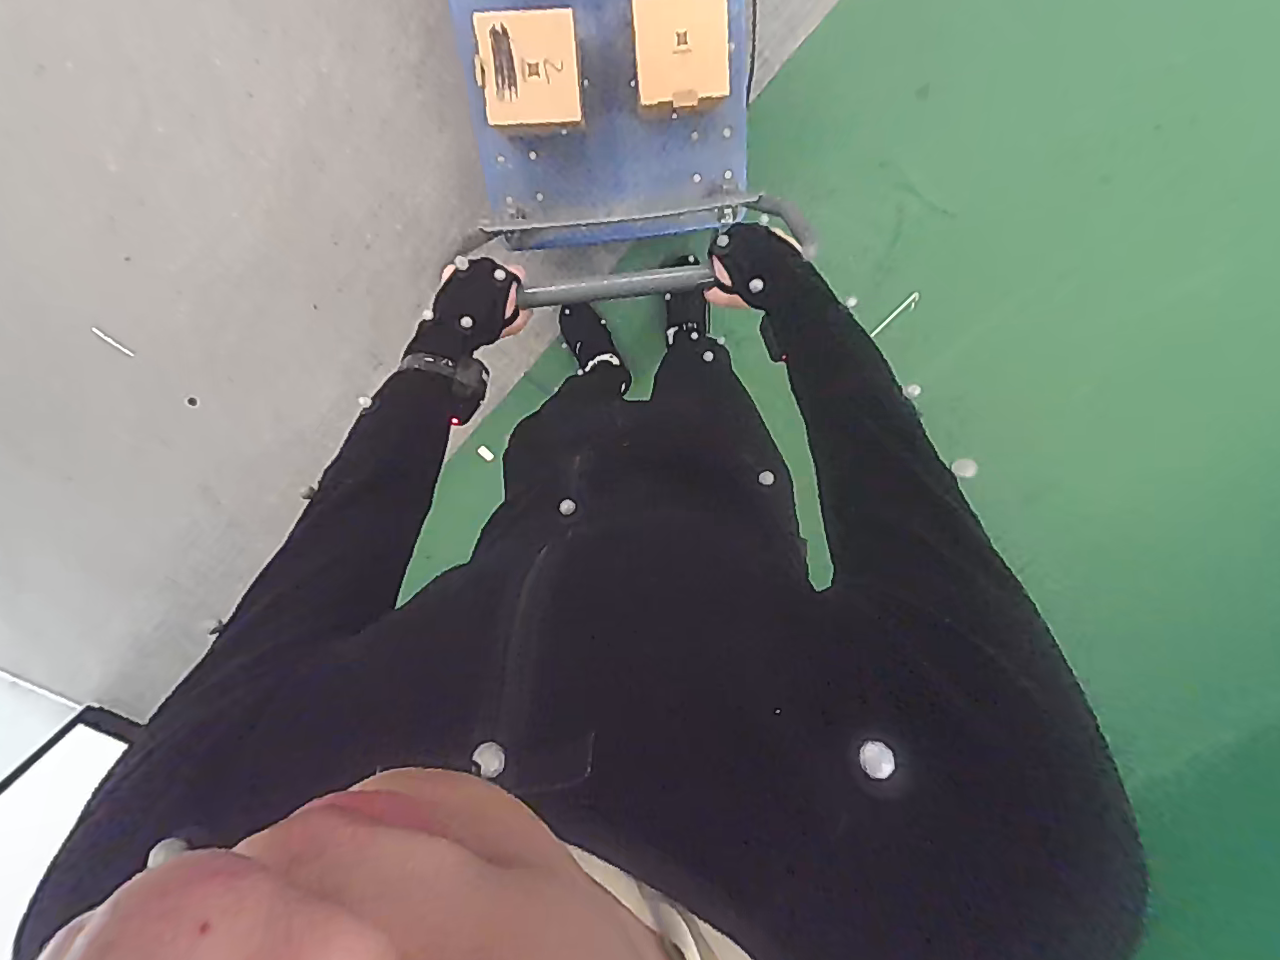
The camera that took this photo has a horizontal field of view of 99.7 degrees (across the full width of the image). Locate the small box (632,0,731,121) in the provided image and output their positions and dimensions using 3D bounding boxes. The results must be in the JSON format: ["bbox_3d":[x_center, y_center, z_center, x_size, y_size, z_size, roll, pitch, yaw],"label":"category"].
[{"bbox_3d":[0.075,-0.803,1.024,0.168,0.176,0.179,-6,117,1],"label":"small box"}]
